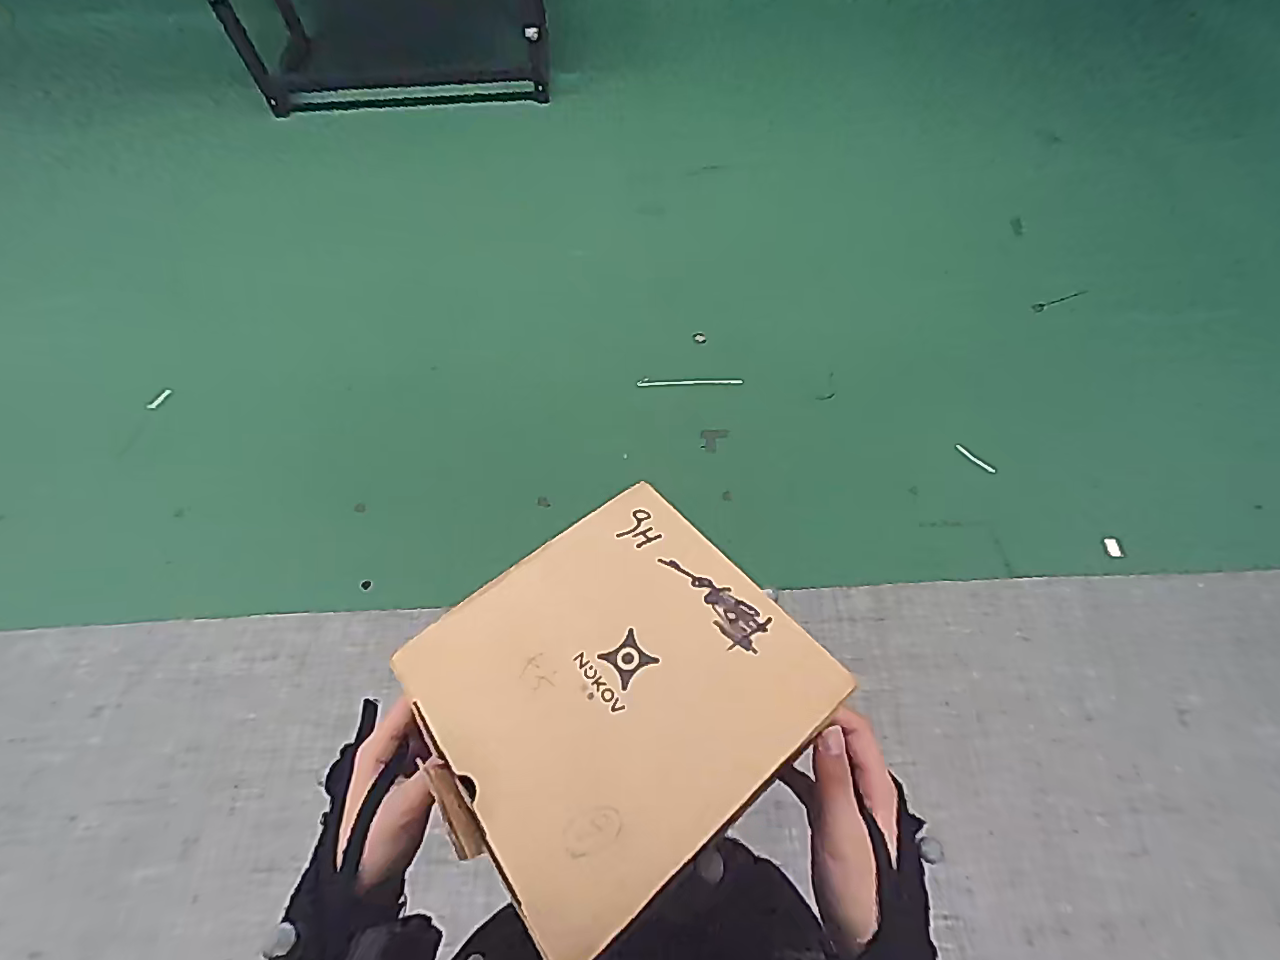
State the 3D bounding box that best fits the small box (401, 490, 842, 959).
[{"bbox_3d":[-0.007,0.147,0.341,0.179,0.176,0.168,-35,58,-20],"label":"small box"}]
